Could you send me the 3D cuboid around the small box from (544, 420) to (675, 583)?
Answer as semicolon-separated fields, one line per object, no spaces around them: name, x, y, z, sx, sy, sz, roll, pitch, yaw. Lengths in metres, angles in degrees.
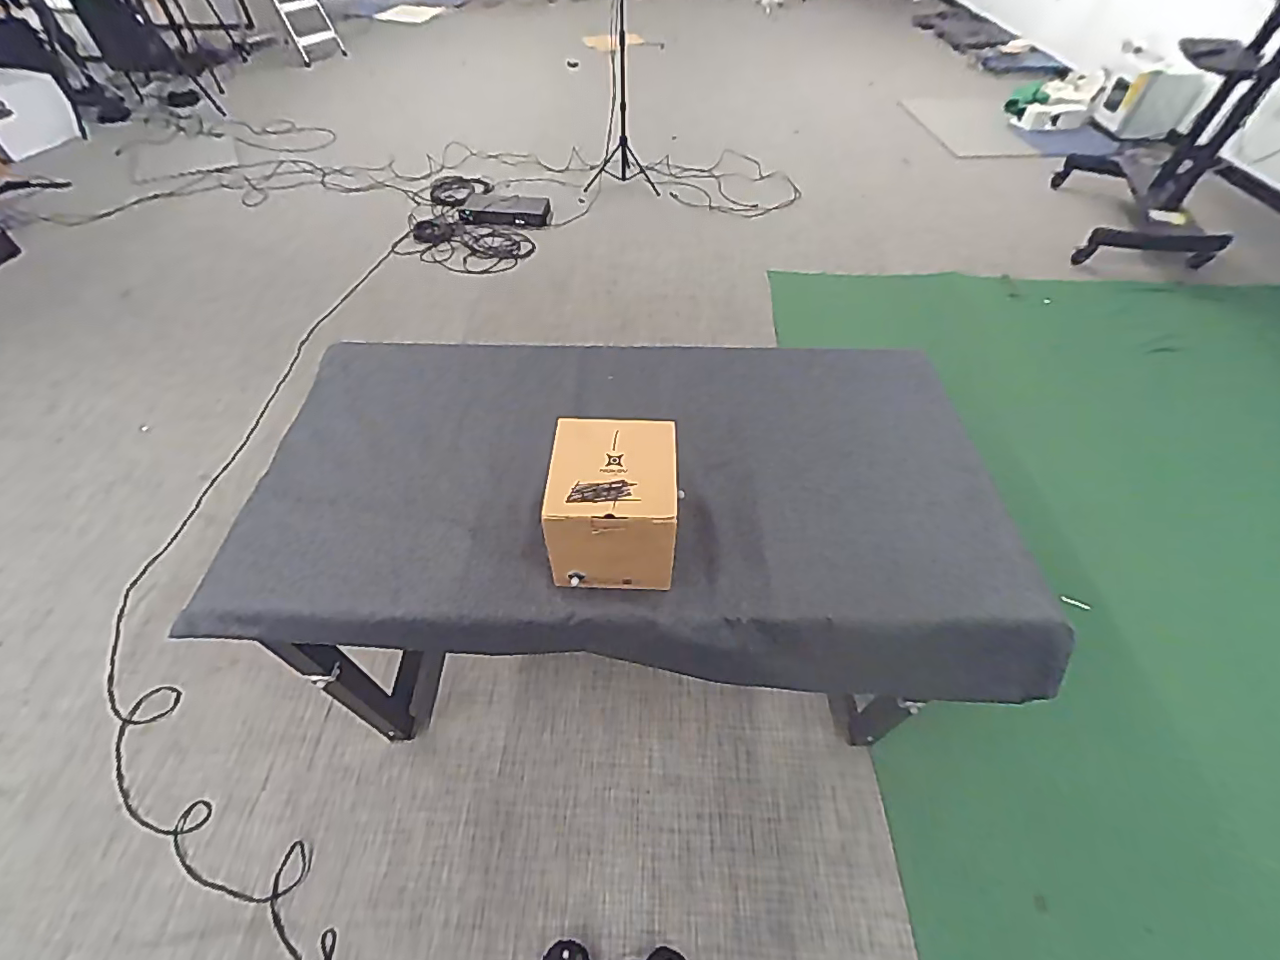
small box;-0.035;0.034;0.782;0.168;0.176;0.179;2;49;1
